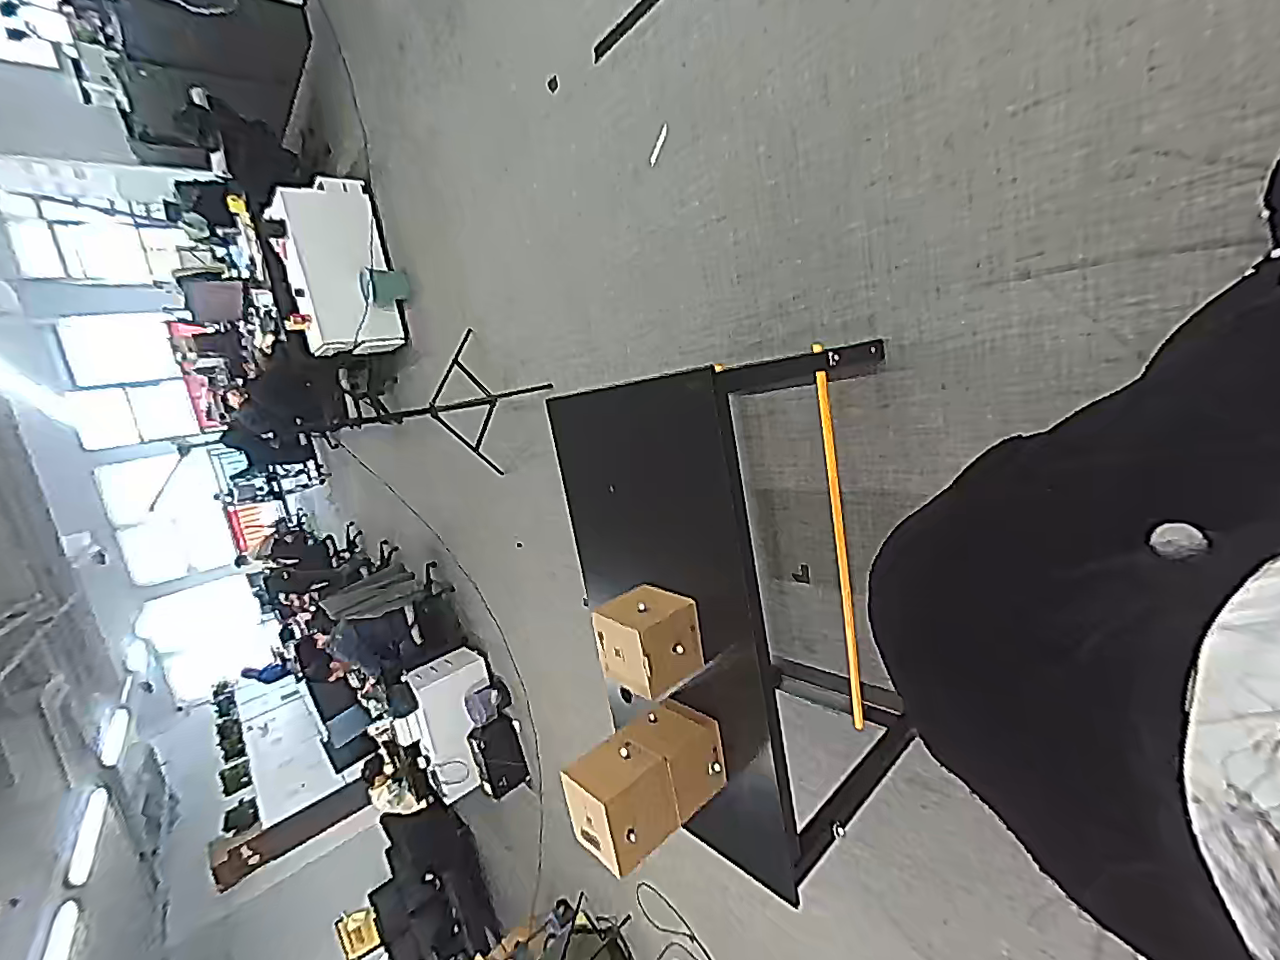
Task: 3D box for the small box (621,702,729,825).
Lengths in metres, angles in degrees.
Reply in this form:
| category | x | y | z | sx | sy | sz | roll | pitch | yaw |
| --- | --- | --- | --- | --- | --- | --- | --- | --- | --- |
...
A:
| category | x | y | z | sx | sy | sz | roll | pitch | yaw |
| --- | --- | --- | --- | --- | --- | --- | --- | --- | --- |
| small box | 0.082 | 0.651 | 1.271 | 0.179 | 0.176 | 0.168 | 1 | 106 | 50 |

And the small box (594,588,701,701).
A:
| category | x | y | z | sx | sy | sz | roll | pitch | yaw |
| --- | --- | --- | --- | --- | --- | --- | --- | --- | --- |
| small box | 0.023 | 0.361 | 1.228 | 0.179 | 0.176 | 0.168 | 5 | 108 | 49 |

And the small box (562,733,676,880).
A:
| category | x | y | z | sx | sy | sz | roll | pitch | yaw |
| --- | --- | --- | --- | --- | --- | --- | --- | --- | --- |
| small box | -0.040 | 0.691 | 1.168 | 0.168 | 0.176 | 0.179 | 0 | 104 | 51 |
